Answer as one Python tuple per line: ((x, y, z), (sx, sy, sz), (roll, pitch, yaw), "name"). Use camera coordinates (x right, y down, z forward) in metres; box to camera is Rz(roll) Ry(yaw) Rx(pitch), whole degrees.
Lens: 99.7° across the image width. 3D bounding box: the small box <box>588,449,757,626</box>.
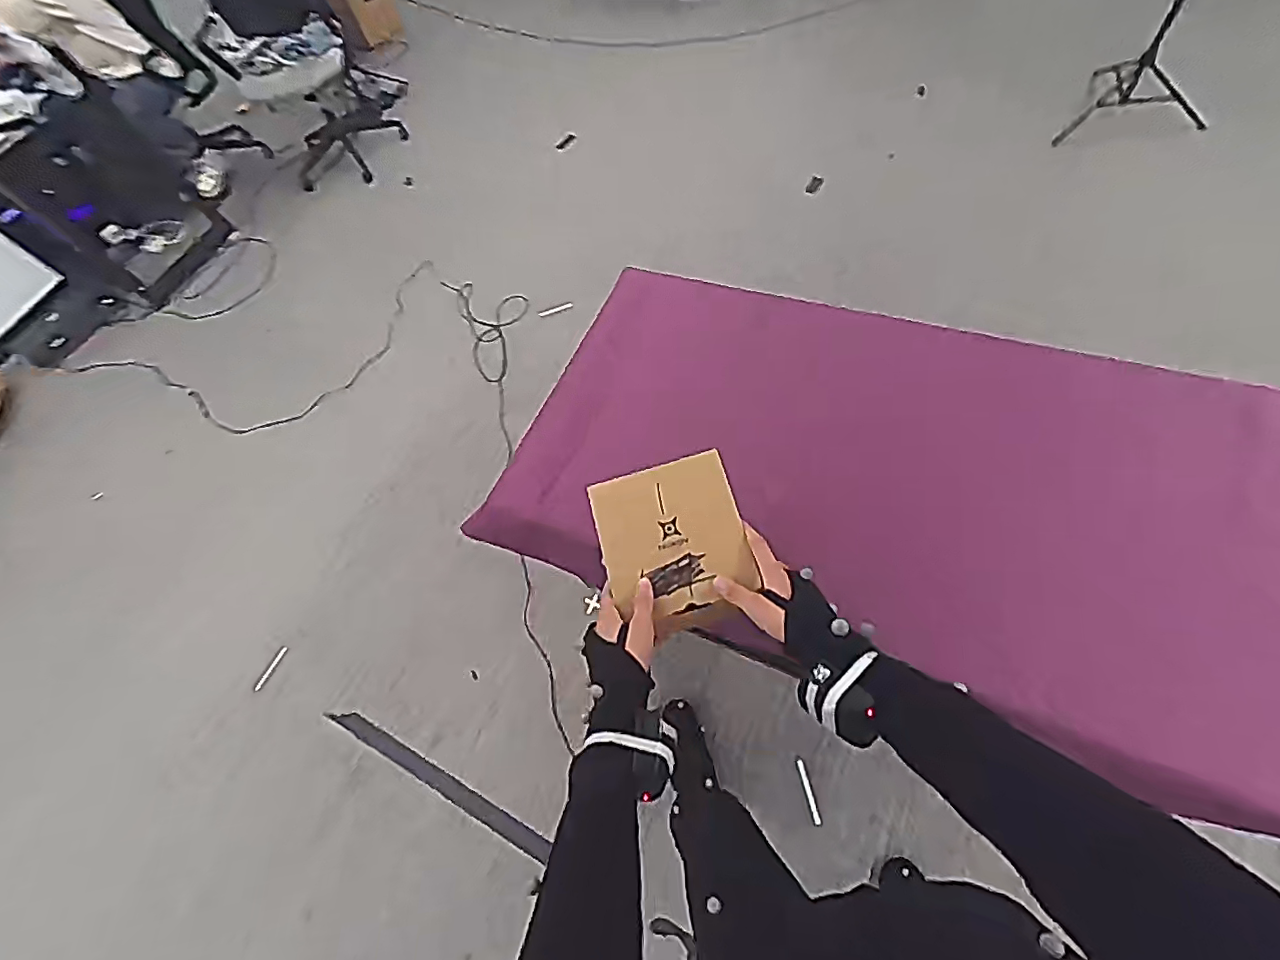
((0.046, 0.087, 0.704), (0.168, 0.176, 0.179), (-16, 69, 3), "small box")
